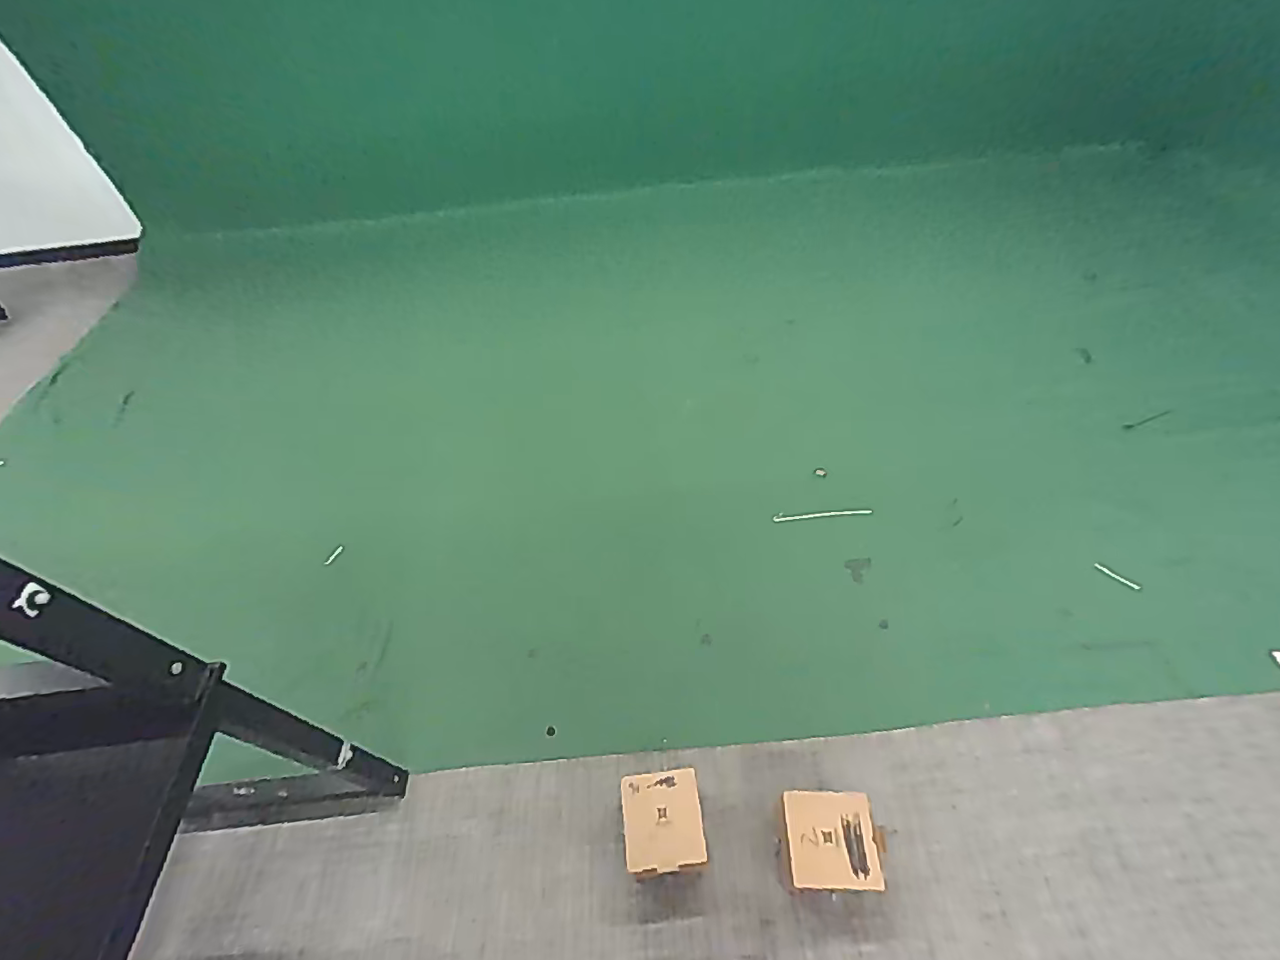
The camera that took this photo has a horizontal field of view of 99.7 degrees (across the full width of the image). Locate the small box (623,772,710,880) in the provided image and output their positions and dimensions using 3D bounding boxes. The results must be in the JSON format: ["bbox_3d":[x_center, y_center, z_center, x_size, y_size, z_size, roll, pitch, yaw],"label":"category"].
[{"bbox_3d":[0.060,0.756,1.177,0.168,0.176,0.179,-8,51,0],"label":"small box"}]
